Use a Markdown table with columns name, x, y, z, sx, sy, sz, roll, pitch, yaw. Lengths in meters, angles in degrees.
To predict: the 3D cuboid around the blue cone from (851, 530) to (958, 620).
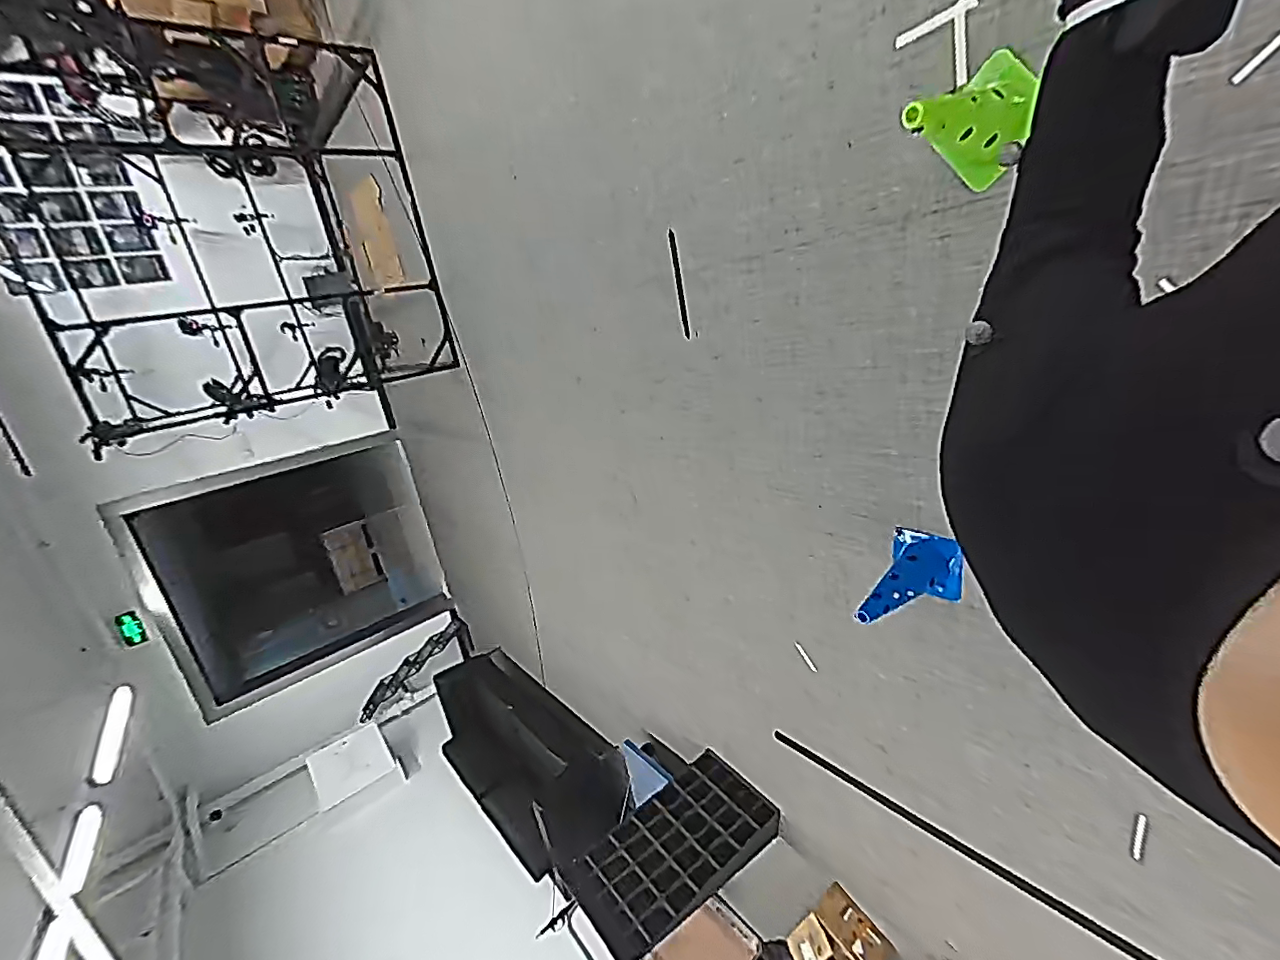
| name | x | y | z | sx | sy | sz | roll | pitch | yaw |
| --- | --- | --- | --- | --- | --- | --- | --- | --- | --- |
| blue cone | 0.734 | 0.304 | 1.548 | 0.192 | 0.380 | 0.193 | 18 | 122 | 50 |

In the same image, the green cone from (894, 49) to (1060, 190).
| name | x | y | z | sx | sy | sz | roll | pitch | yaw |
| --- | --- | --- | --- | --- | --- | --- | --- | --- | --- |
| green cone | 0.624 | -0.721 | 1.081 | 0.200 | 0.368 | 0.202 | 59 | 147 | 14 |
